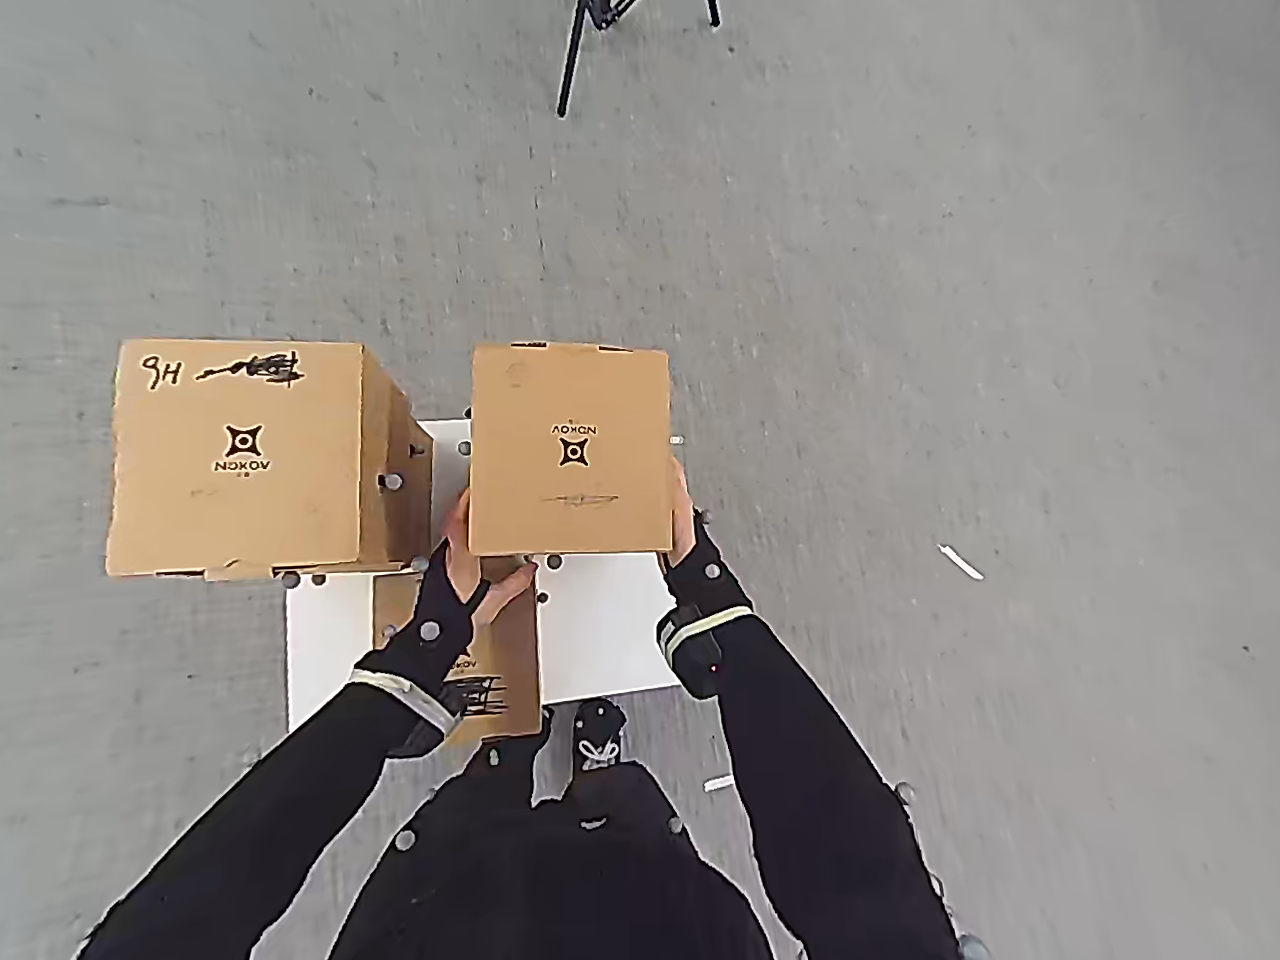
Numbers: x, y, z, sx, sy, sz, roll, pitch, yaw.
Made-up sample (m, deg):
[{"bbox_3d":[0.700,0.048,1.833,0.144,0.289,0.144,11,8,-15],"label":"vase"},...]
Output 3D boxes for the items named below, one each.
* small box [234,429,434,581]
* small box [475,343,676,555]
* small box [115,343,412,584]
[{"bbox_3d":[-0.342,0.022,0.636,0.168,0.176,0.179,-1,83,-12],"label":"small box"},{"bbox_3d":[-0.066,-0.017,0.525,0.168,0.176,0.179,-1,84,-10],"label":"small box"},{"bbox_3d":[-0.305,-0.007,0.478,0.168,0.176,0.179,-2,84,-12],"label":"small box"}]
